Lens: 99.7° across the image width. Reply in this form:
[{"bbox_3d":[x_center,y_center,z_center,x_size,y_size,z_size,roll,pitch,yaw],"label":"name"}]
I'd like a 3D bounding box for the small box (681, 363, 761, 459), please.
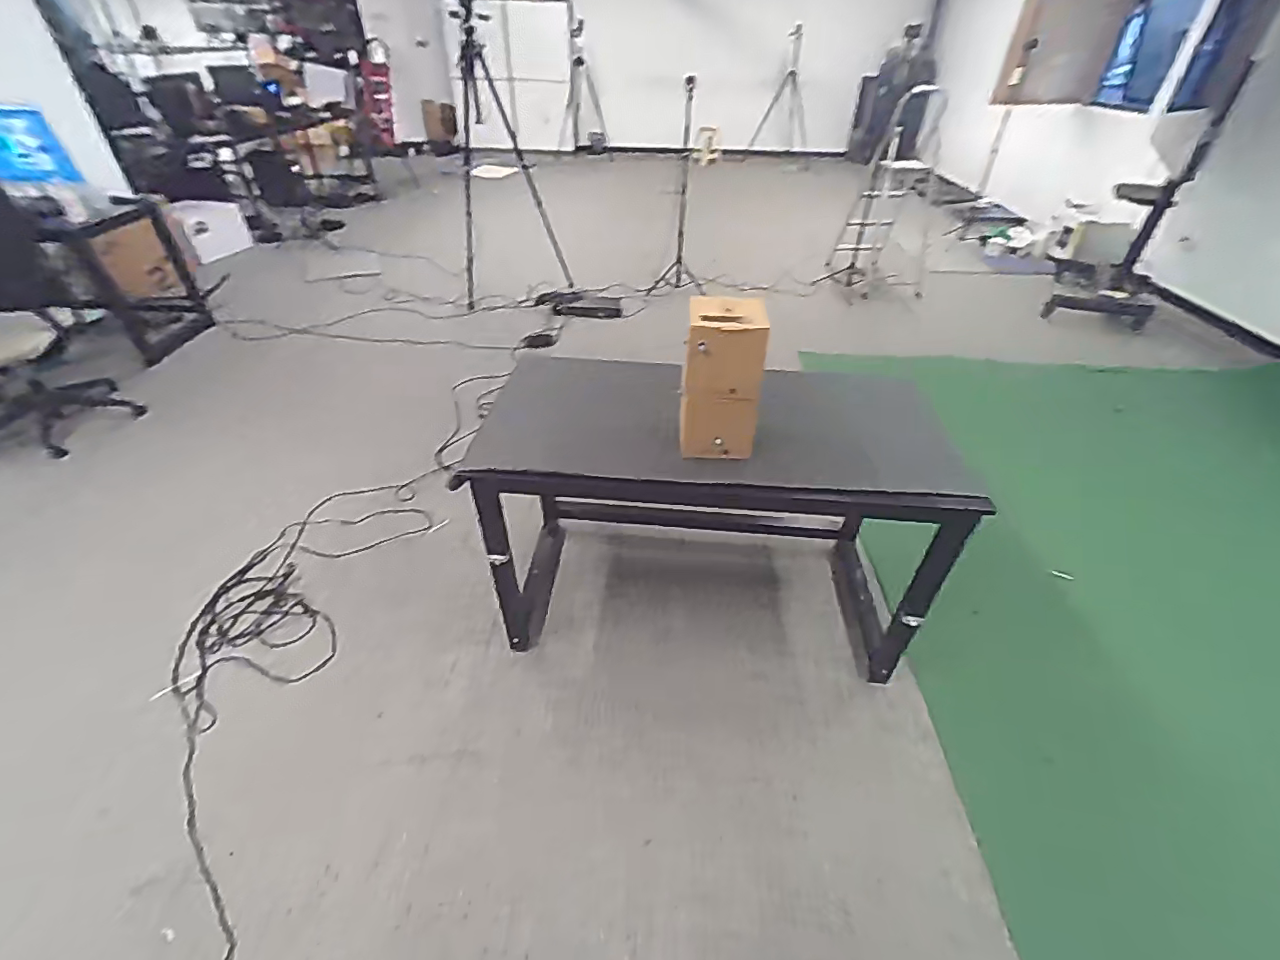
[{"bbox_3d":[0.188,-0.169,1.313,0.168,0.176,0.179,1,38,1],"label":"small box"}]
